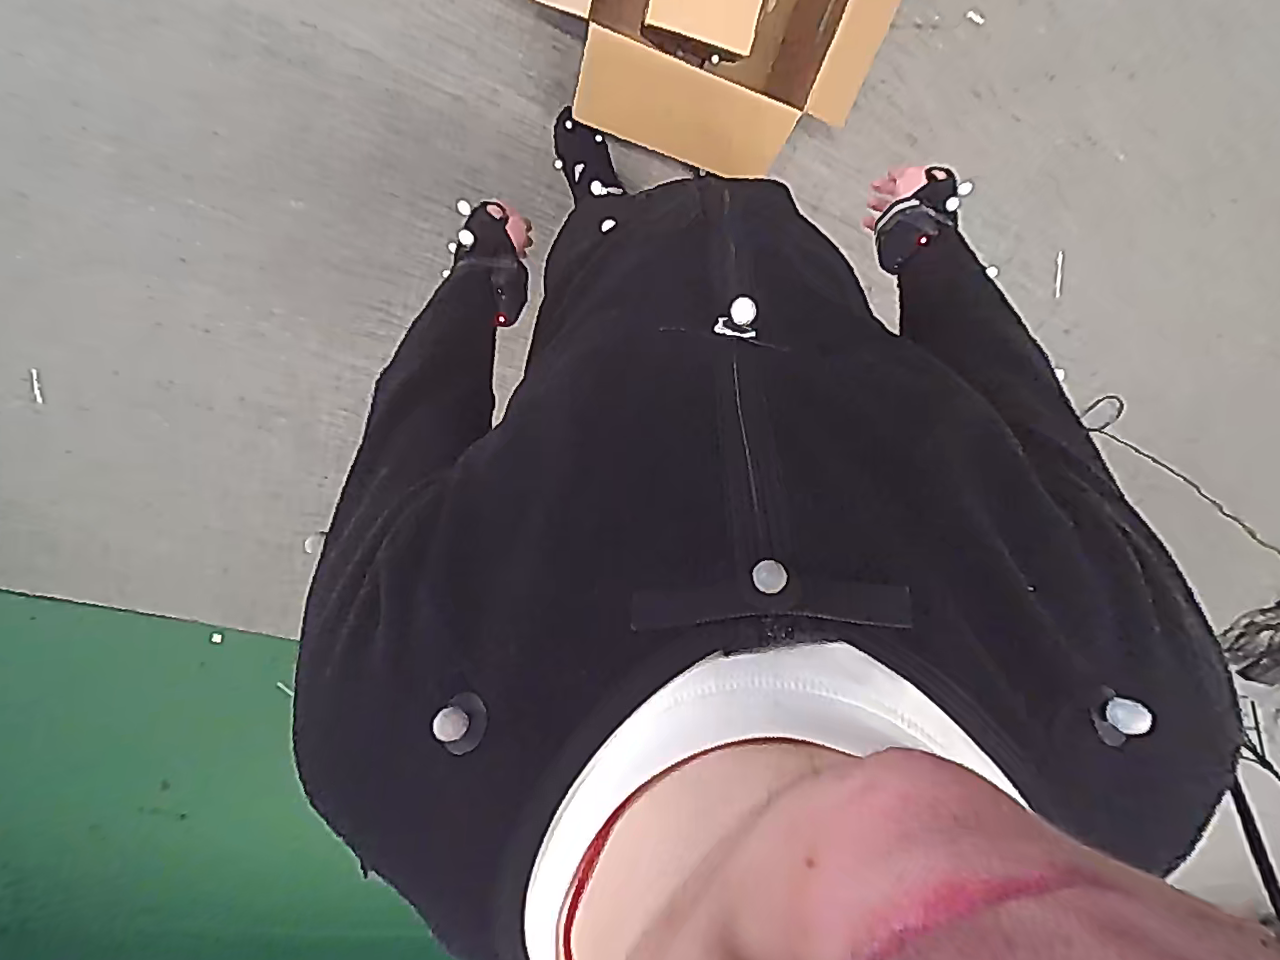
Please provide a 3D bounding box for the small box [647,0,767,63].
[{"bbox_3d":[0.115,-0.812,0.888,0.179,0.176,0.168,12,122,-8],"label":"small box"}]
